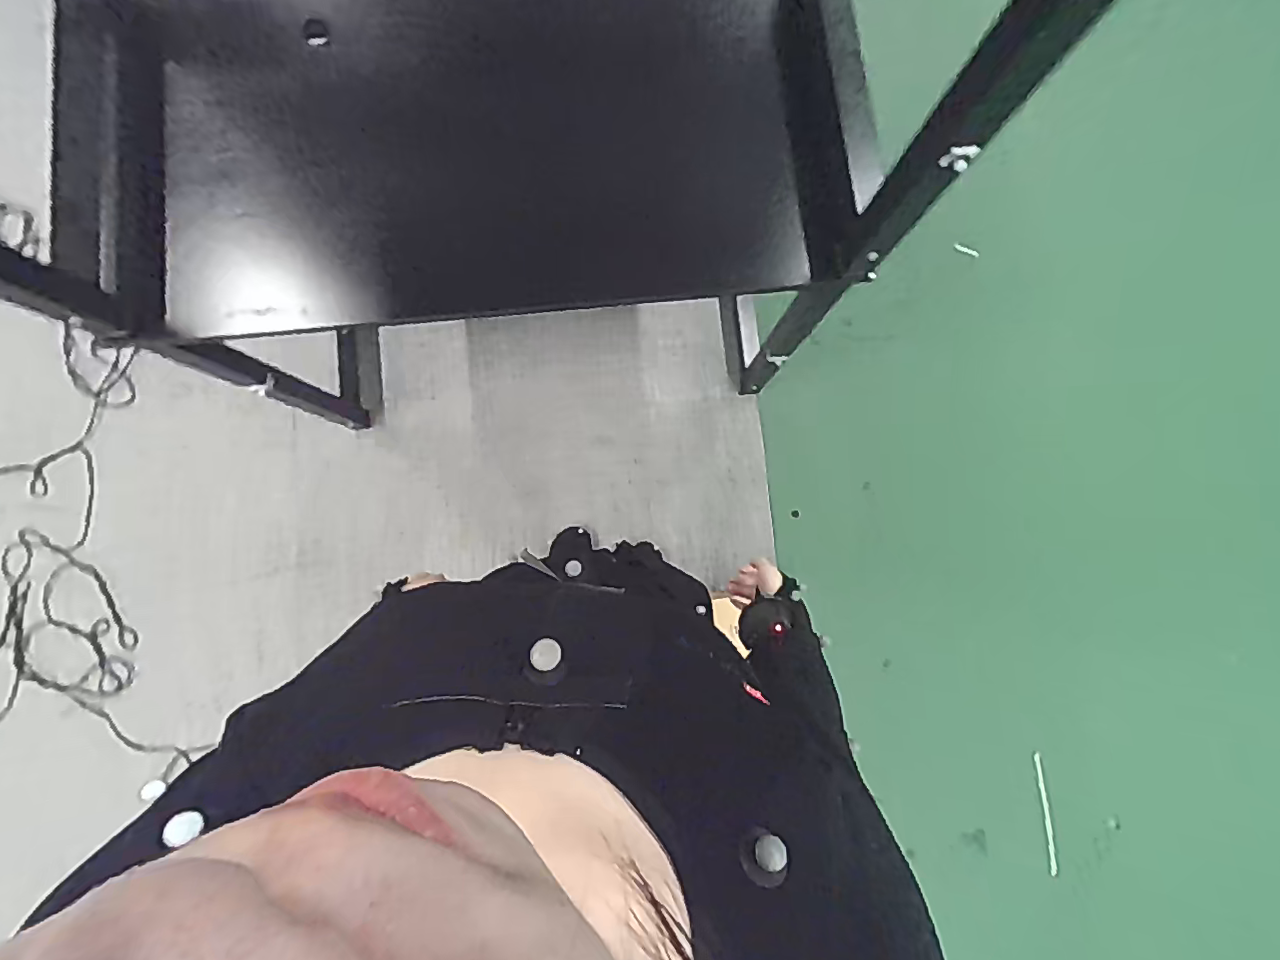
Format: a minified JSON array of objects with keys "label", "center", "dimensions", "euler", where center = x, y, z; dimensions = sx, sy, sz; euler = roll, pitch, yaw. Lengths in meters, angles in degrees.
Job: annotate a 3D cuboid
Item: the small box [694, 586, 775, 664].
[{"label":"small box","center":[0.238,0.373,1.414],"dimensions":[0.179,0.176,0.168],"euler":[-7,84,-2]}]
